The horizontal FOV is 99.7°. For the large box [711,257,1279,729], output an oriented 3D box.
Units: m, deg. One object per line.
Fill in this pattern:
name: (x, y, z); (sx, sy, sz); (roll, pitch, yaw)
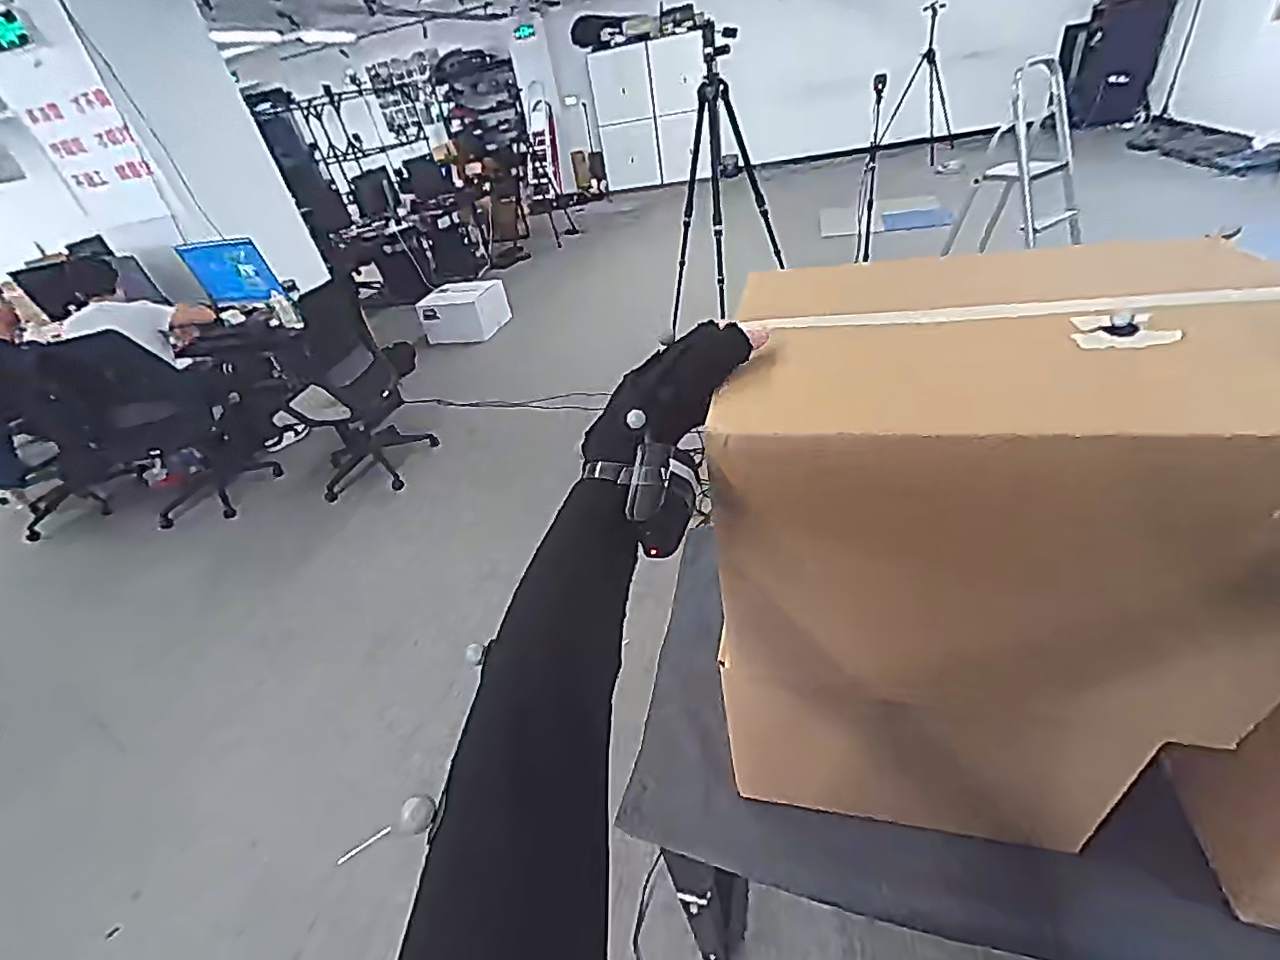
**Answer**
large box: (0.293, -0.002, 0.530); (0.408, 0.320, 0.320); (3, 41, 16)
